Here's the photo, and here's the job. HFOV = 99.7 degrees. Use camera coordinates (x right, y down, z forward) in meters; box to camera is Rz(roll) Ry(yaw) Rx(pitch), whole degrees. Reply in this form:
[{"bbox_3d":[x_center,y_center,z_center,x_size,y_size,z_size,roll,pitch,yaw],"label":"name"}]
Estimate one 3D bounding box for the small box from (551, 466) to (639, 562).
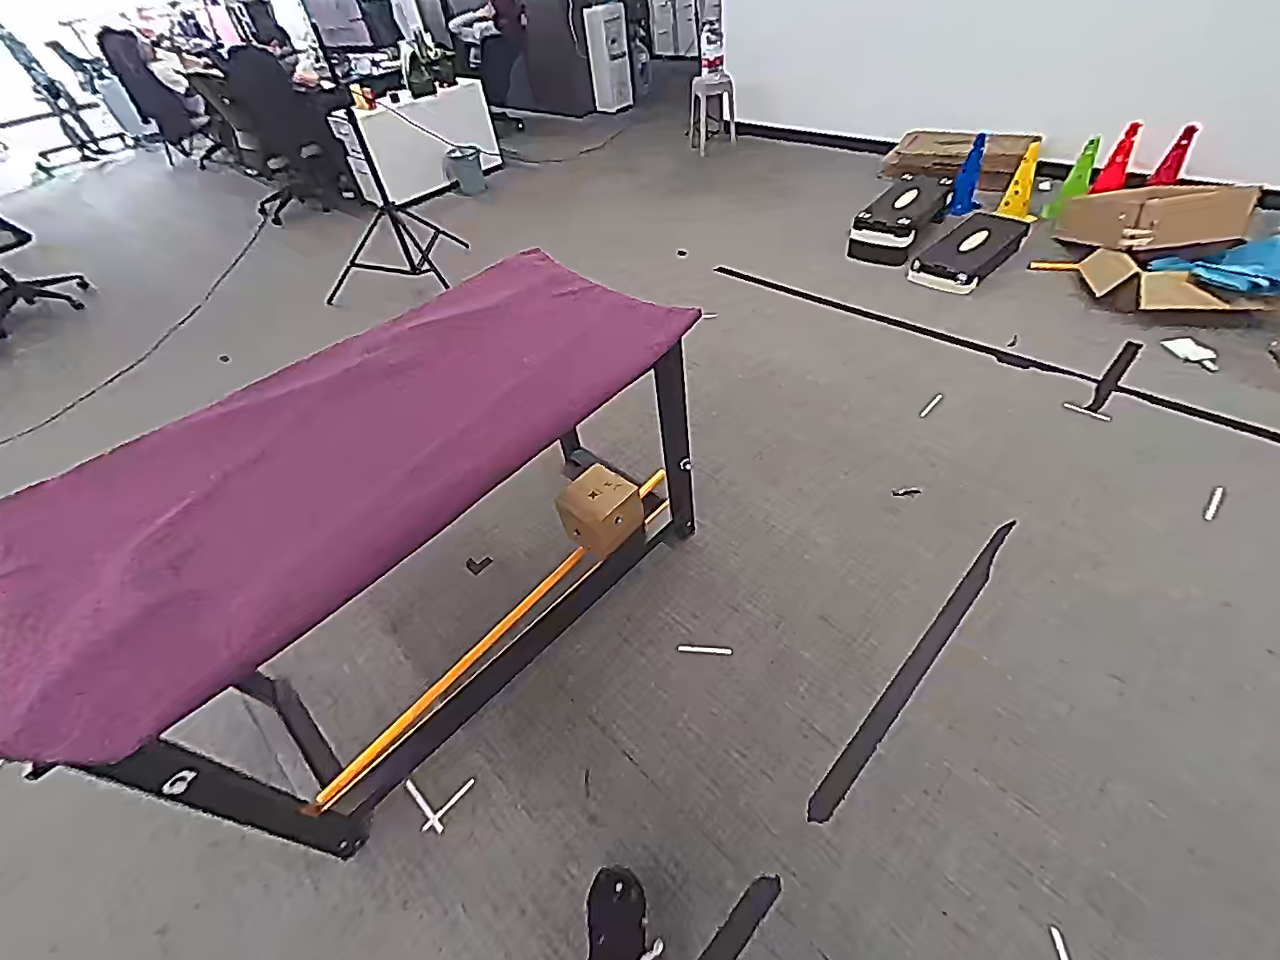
[{"bbox_3d":[-0.119,0.098,1.526,0.168,0.176,0.179,31,59,30],"label":"small box"}]
